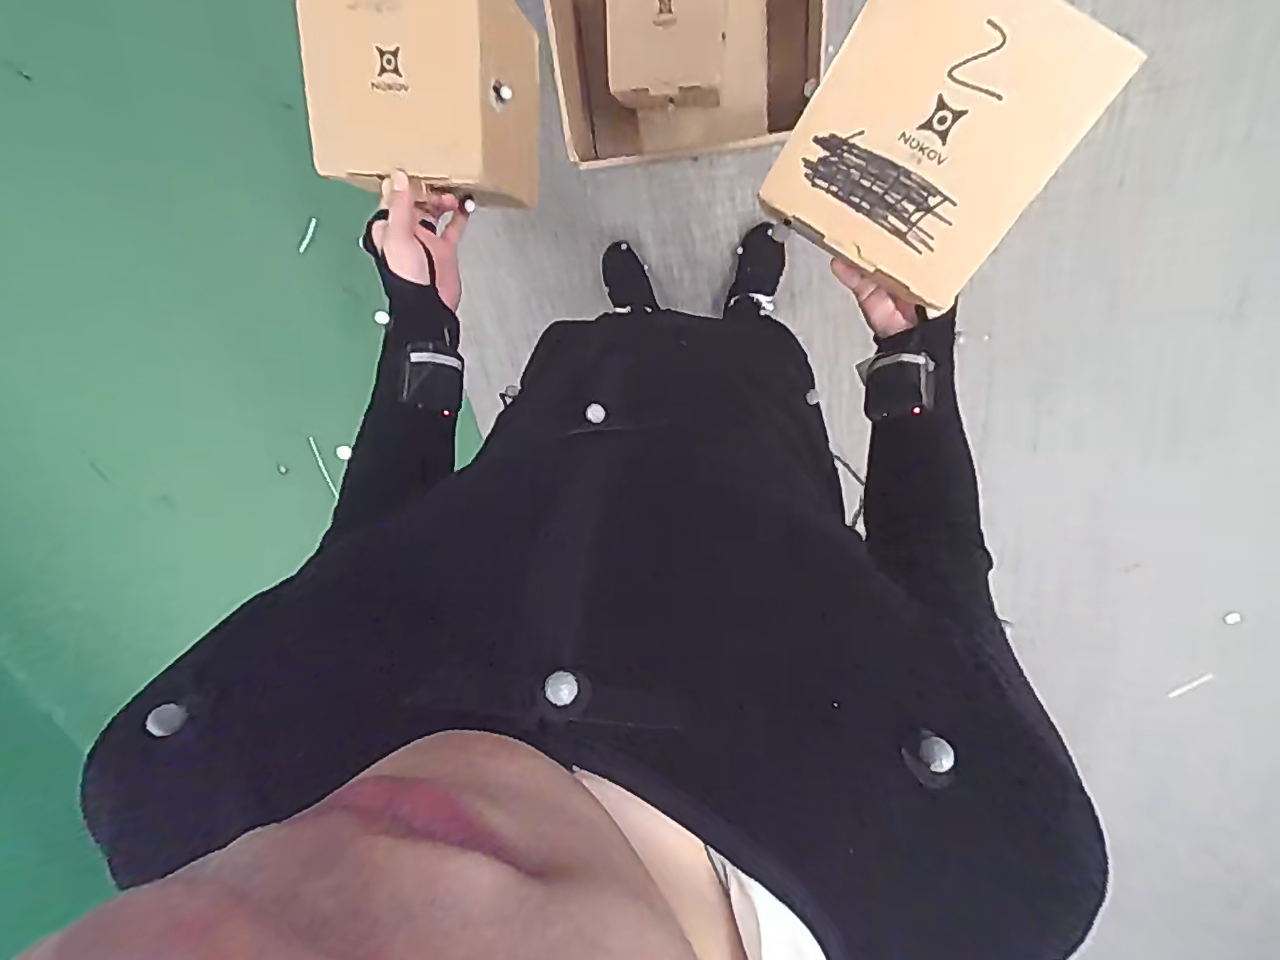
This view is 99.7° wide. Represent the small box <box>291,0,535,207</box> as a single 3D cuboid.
[{"bbox_3d":[-0.210,-0.386,0.545,0.168,0.176,0.179,7,108,6],"label":"small box"}]
